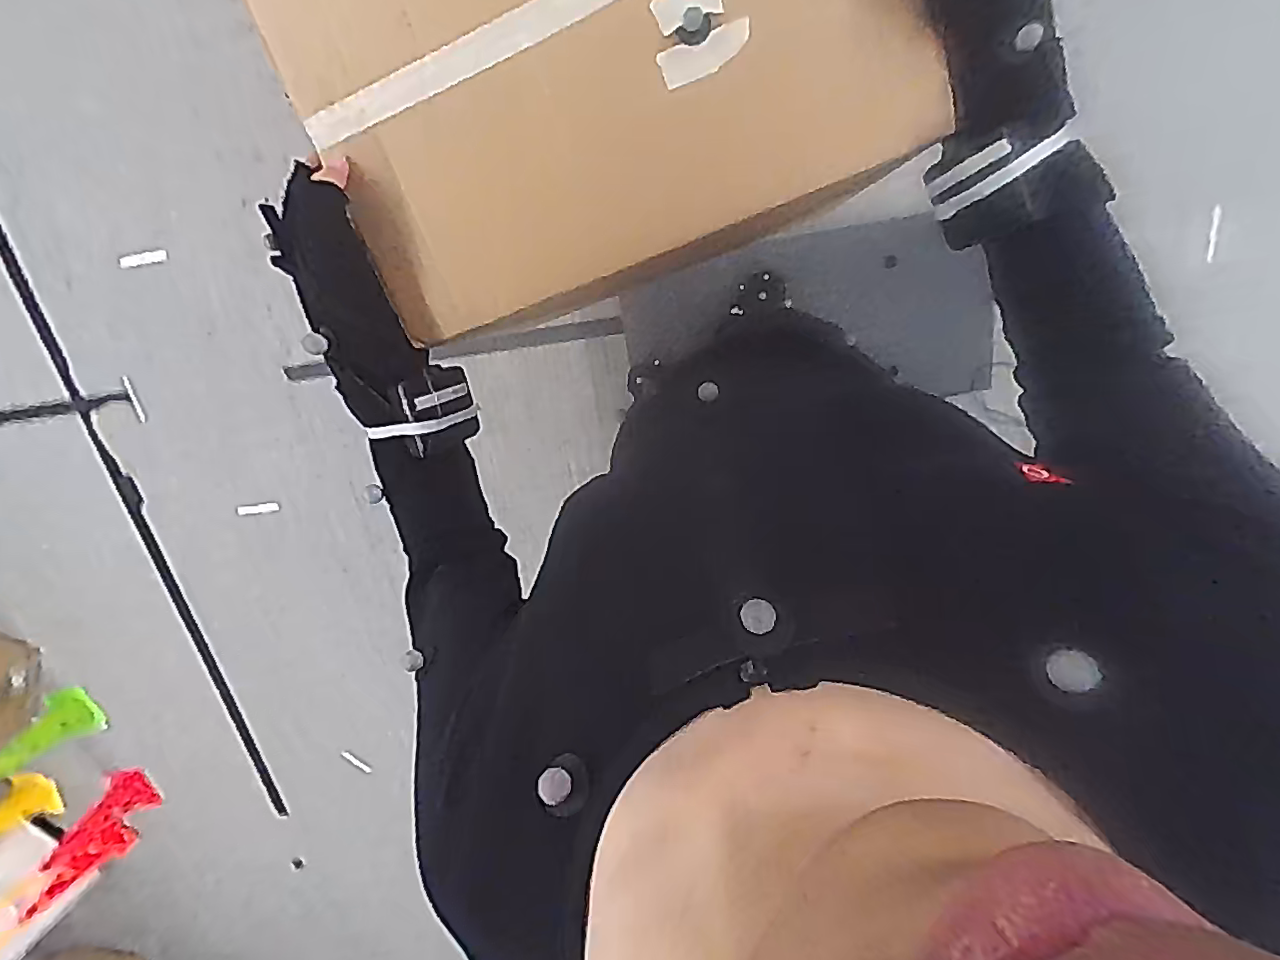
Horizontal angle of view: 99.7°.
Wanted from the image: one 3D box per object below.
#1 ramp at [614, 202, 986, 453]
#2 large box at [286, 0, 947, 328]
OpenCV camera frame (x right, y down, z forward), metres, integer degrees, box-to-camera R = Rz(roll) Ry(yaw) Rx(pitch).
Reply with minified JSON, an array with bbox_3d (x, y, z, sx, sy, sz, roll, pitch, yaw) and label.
[{"bbox_3d":[0.452,-0.402,1.446,0.991,0.206,0.509,-10,106,7],"label":"ramp"},{"bbox_3d":[-0.019,-0.360,0.496,0.408,0.320,0.320,-17,106,10],"label":"large box"}]
